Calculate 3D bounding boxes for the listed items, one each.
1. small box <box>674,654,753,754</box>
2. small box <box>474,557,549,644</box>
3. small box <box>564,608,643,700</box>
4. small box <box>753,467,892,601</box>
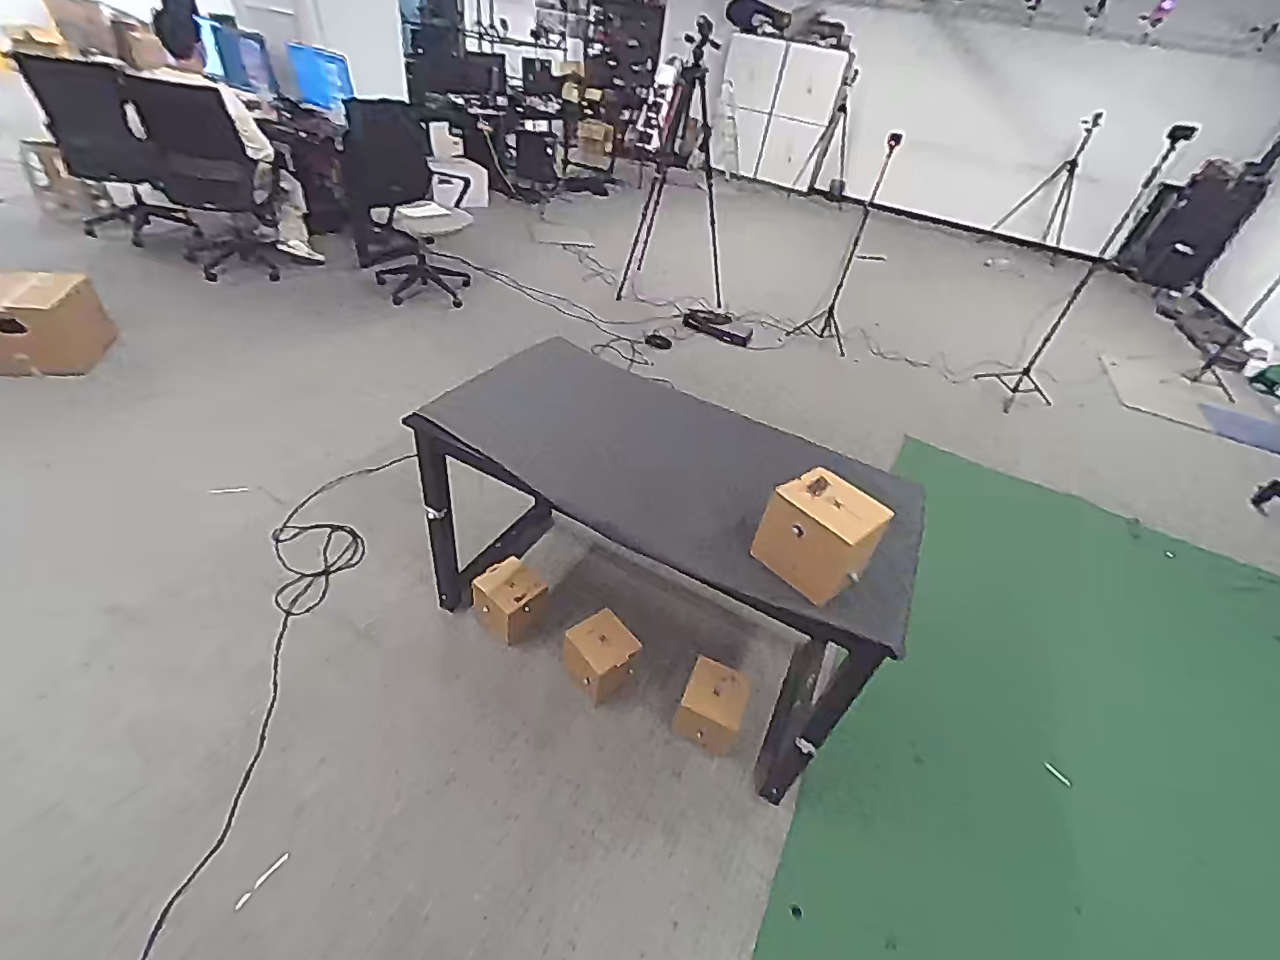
[{"bbox_3d":[0.206,0.644,1.546,0.168,0.176,0.179,21,40,13],"label":"small box"},{"bbox_3d":[-0.411,0.388,1.735,0.179,0.176,0.168,32,44,27],"label":"small box"},{"bbox_3d":[-0.114,0.529,1.623,0.168,0.176,0.179,-24,48,-36],"label":"small box"},{"bbox_3d":[0.352,0.103,1.070,0.168,0.176,0.179,-22,47,-37],"label":"small box"}]
